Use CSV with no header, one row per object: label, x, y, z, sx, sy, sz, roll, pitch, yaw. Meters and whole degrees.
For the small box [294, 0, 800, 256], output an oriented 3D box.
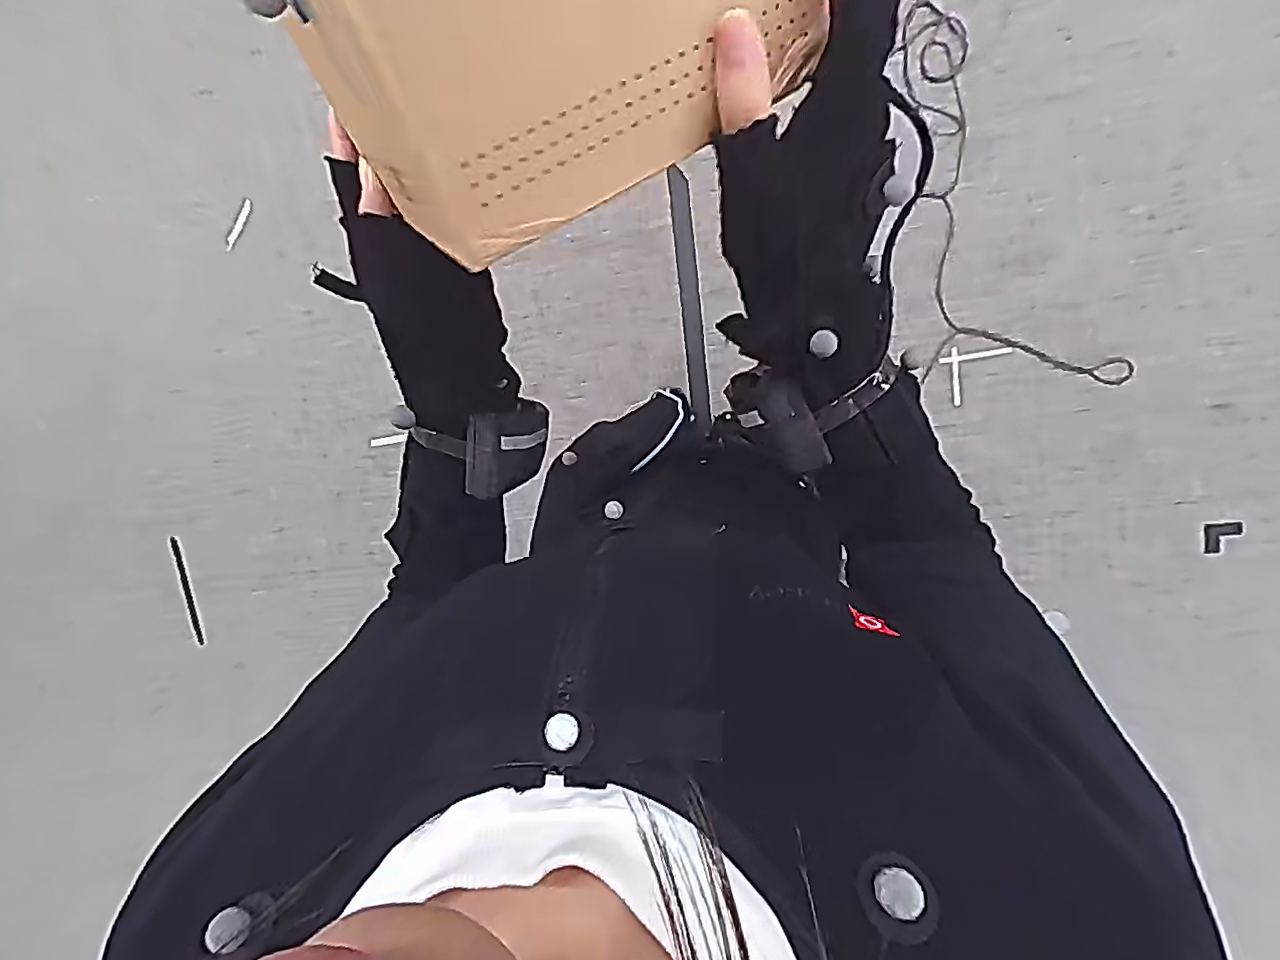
small box,-0.053,-0.222,0.232,0.179,0.168,0.176,-33,134,-10
